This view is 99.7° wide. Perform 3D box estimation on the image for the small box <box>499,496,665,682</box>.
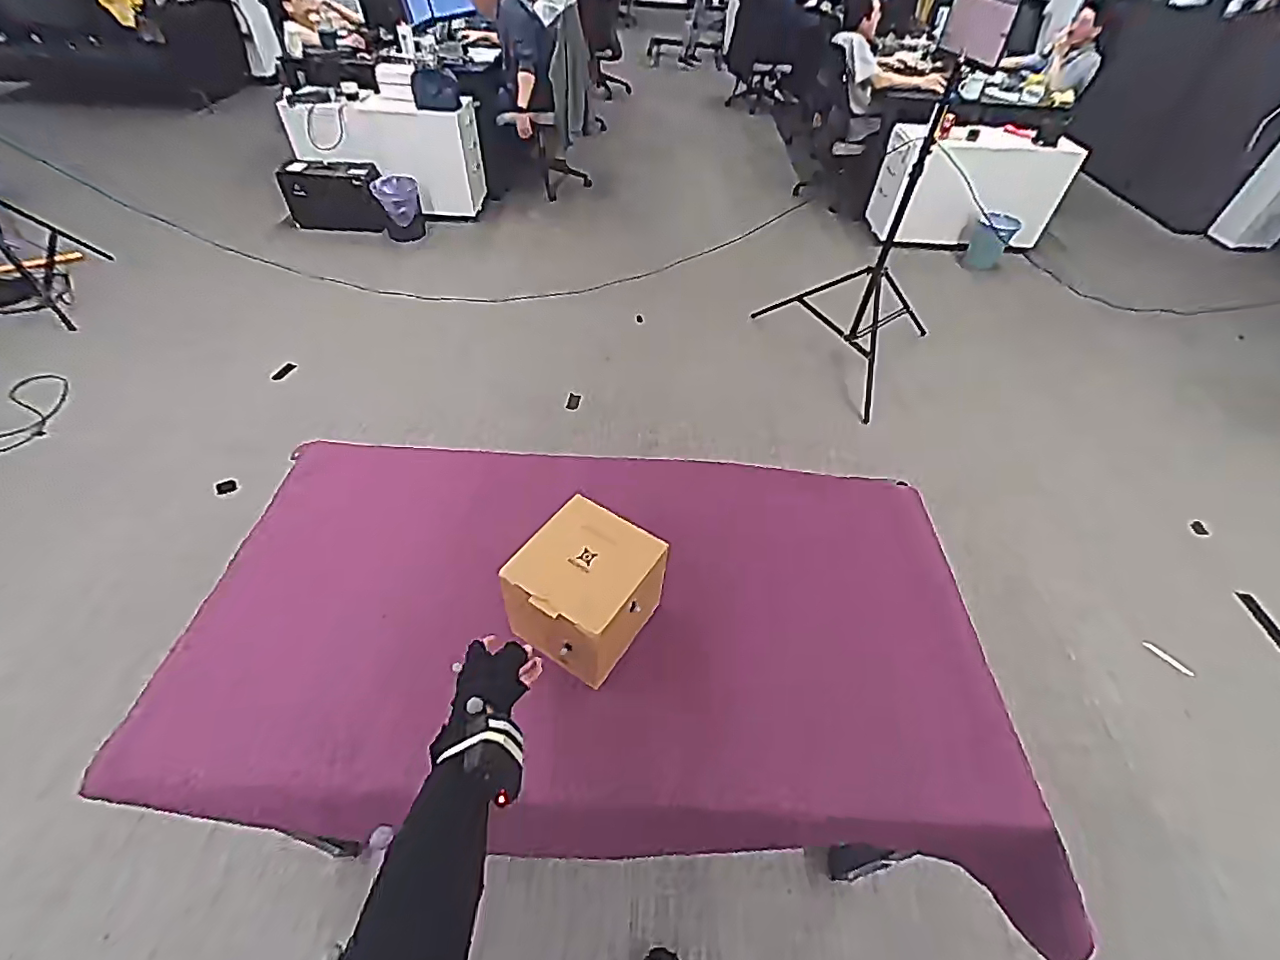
[{"bbox_3d":[-0.078,0.164,0.801,0.168,0.176,0.179,27,51,19],"label":"small box"}]
